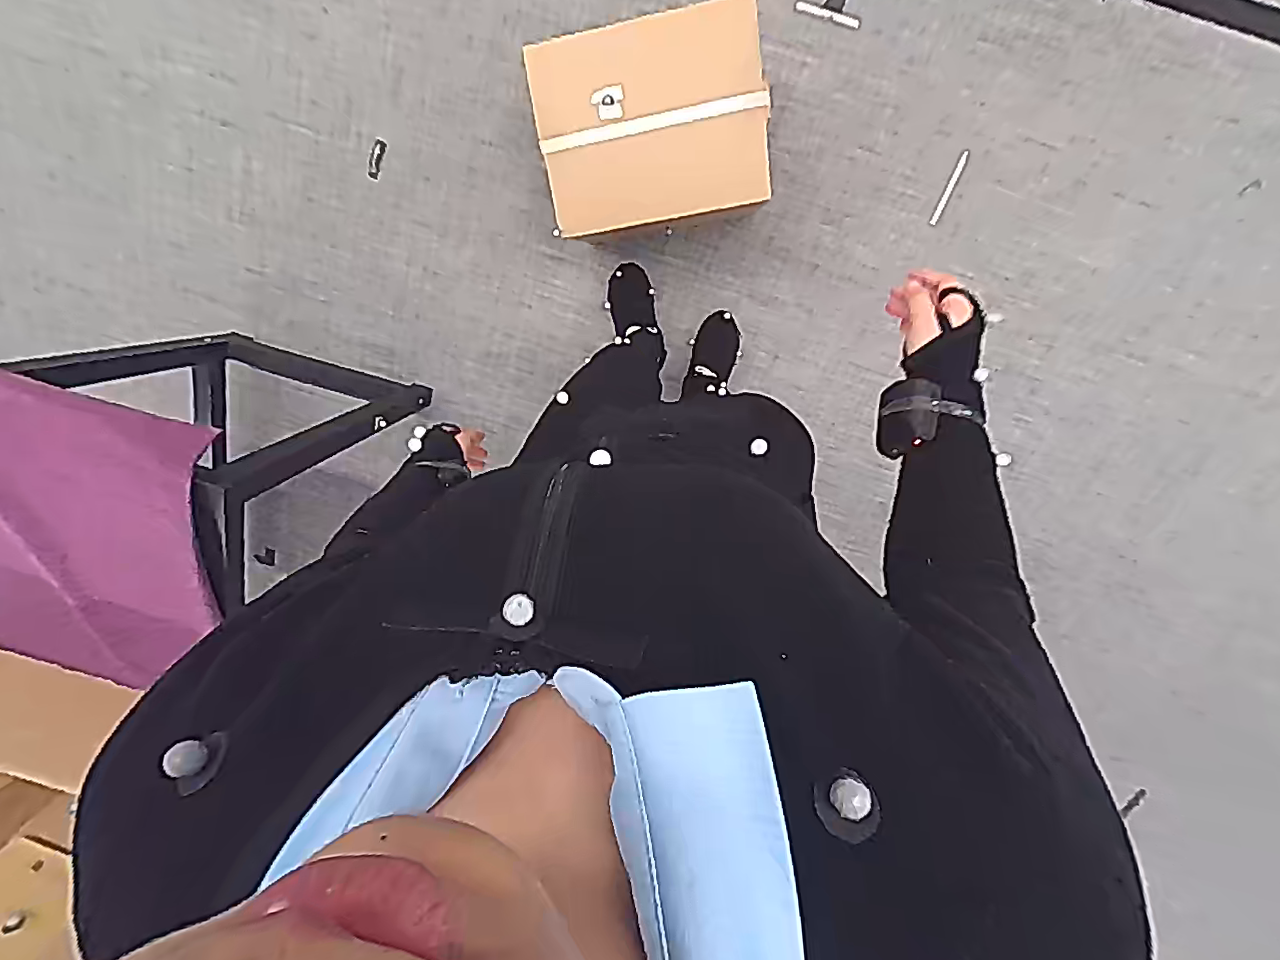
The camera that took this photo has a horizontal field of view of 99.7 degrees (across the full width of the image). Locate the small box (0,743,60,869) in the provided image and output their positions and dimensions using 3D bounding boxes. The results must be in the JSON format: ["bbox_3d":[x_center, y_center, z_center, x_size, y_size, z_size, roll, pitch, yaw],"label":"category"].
[{"bbox_3d":[-1.193,0.586,0.950,0.168,0.176,0.179,14,111,-1],"label":"small box"}]

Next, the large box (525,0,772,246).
[{"bbox_3d":[0.036,-0.678,1.095,0.408,0.320,0.320,-7,110,10],"label":"large box"}]
